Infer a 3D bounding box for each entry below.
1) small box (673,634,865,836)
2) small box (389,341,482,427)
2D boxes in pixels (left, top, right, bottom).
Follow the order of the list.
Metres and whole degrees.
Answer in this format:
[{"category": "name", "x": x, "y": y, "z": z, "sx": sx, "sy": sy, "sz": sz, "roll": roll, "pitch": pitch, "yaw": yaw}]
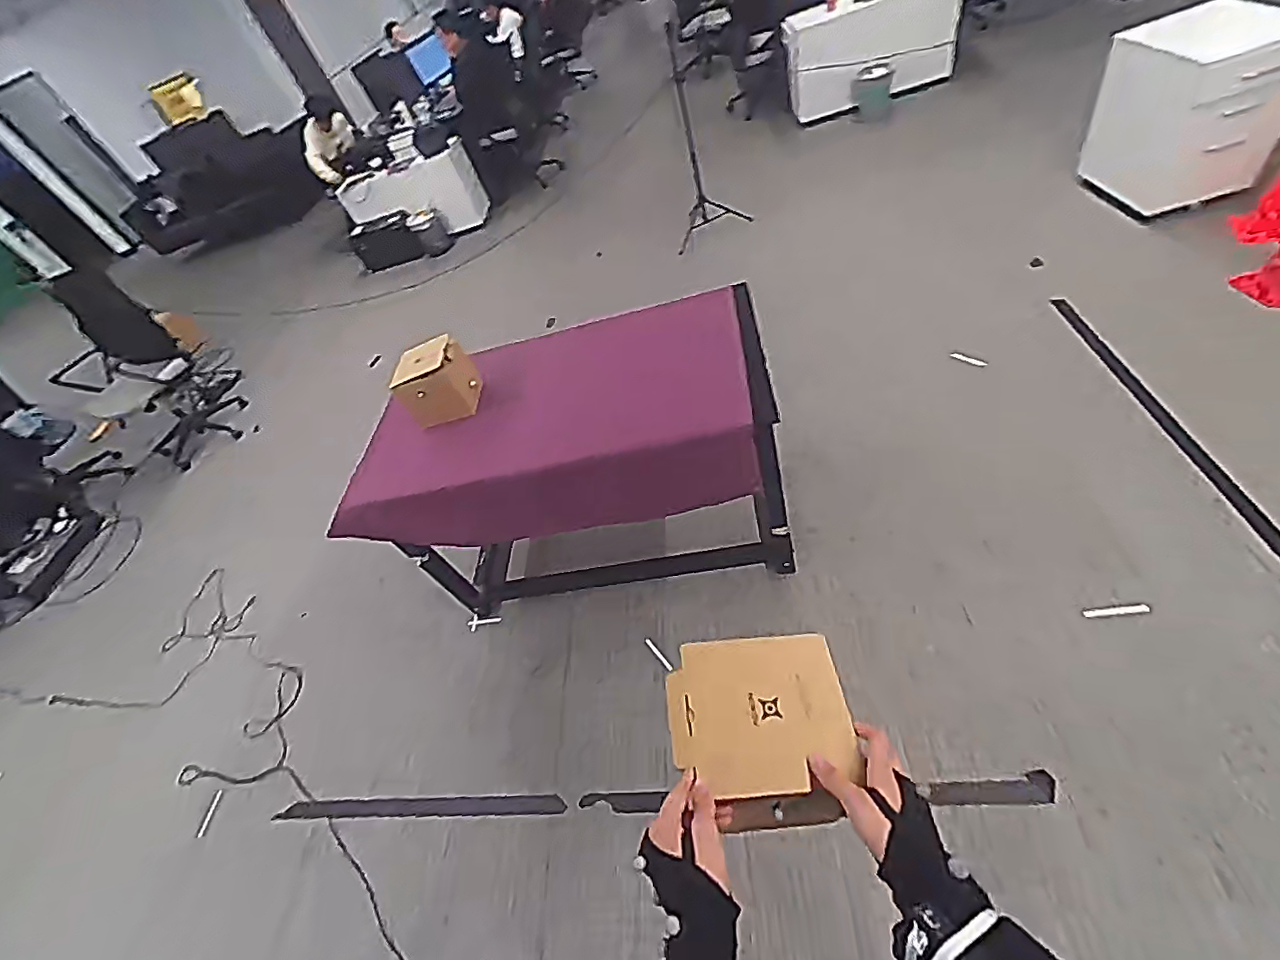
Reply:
[{"category": "small box", "x": 0.136, "y": 0.303, "z": 0.640, "sx": 0.179, "sy": 0.176, "sz": 0.168, "roll": -5, "pitch": 46, "yaw": -1}, {"category": "small box", "x": -0.598, "y": -0.278, "z": 1.601, "sx": 0.179, "sy": 0.176, "sz": 0.168, "roll": -12, "pitch": 49, "yaw": 10}]
